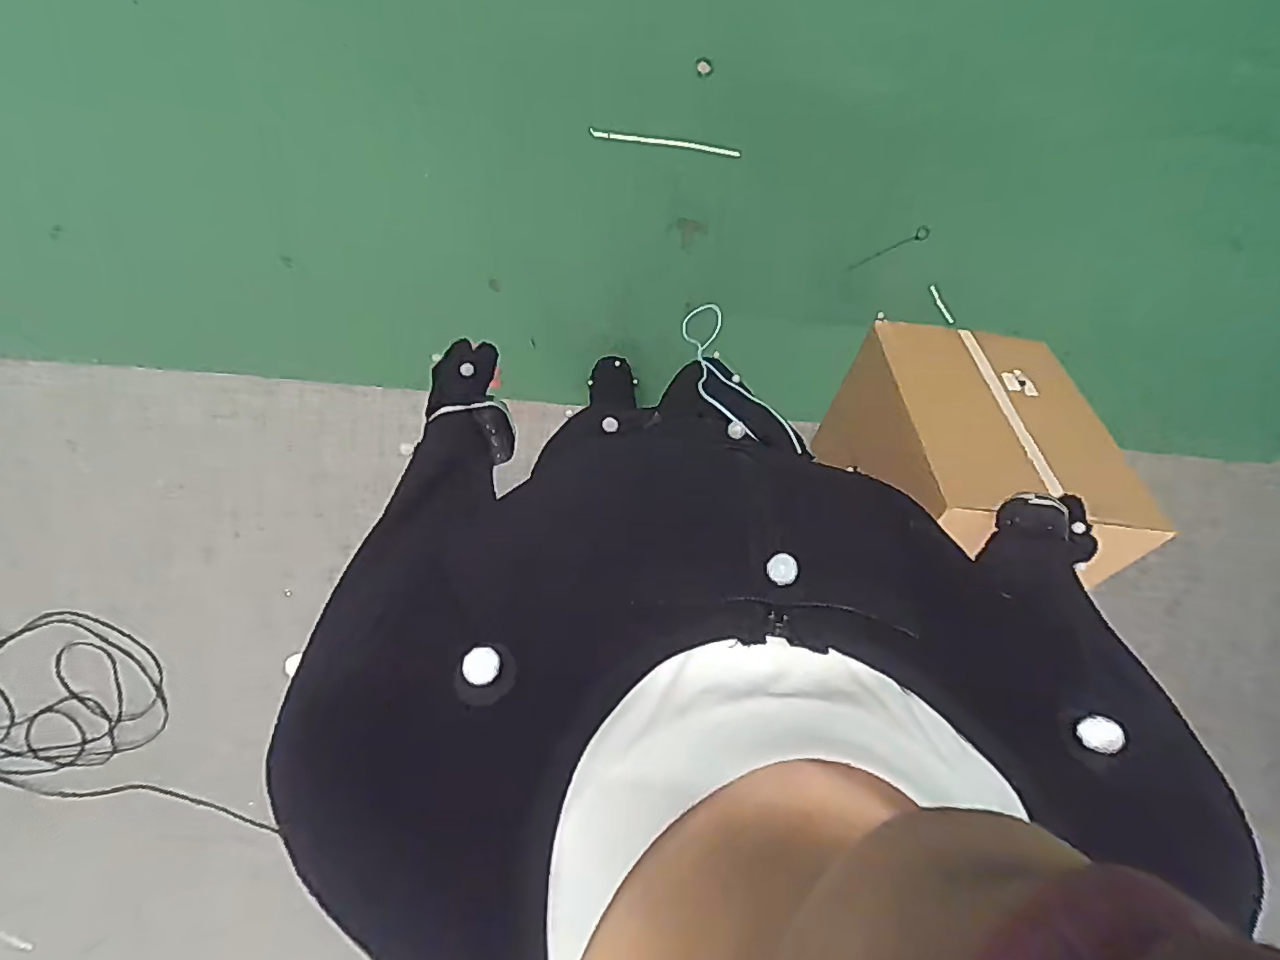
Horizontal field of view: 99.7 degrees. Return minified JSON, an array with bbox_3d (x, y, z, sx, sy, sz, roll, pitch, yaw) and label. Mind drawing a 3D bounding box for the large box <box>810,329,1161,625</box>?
[{"bbox_3d":[0.522,-0.003,0.935,0.320,0.408,0.320,7,139,-4],"label":"large box"}]
